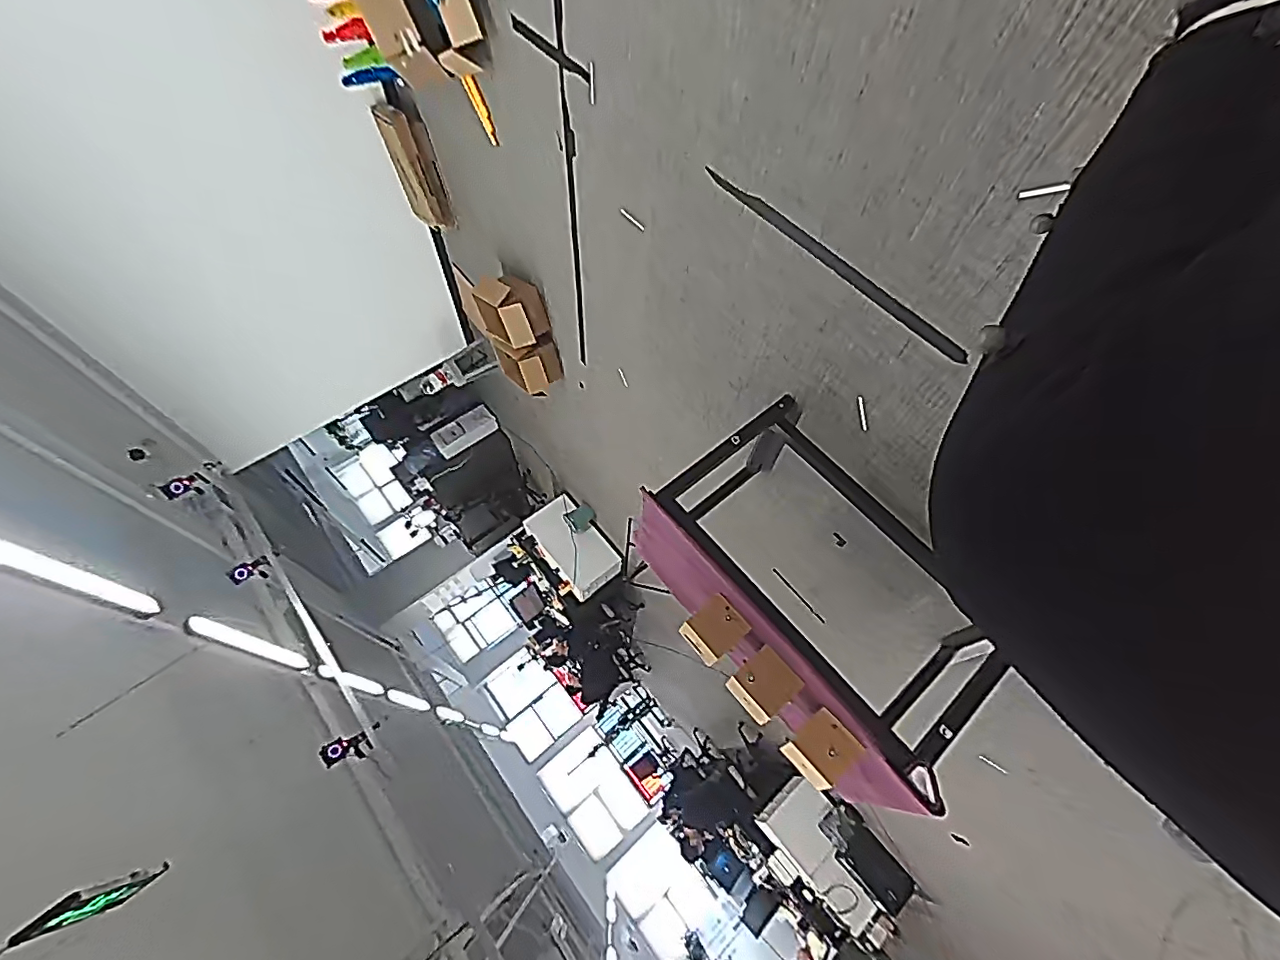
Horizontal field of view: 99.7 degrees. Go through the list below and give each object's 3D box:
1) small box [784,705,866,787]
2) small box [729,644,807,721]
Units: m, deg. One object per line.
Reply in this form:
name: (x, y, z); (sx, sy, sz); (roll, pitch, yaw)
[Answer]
small box: (0.596, 0.852, 1.740); (0.168, 0.176, 0.179); (45, 159, 26)
small box: (0.430, 0.677, 1.827); (0.179, 0.176, 0.168); (46, 160, 23)
